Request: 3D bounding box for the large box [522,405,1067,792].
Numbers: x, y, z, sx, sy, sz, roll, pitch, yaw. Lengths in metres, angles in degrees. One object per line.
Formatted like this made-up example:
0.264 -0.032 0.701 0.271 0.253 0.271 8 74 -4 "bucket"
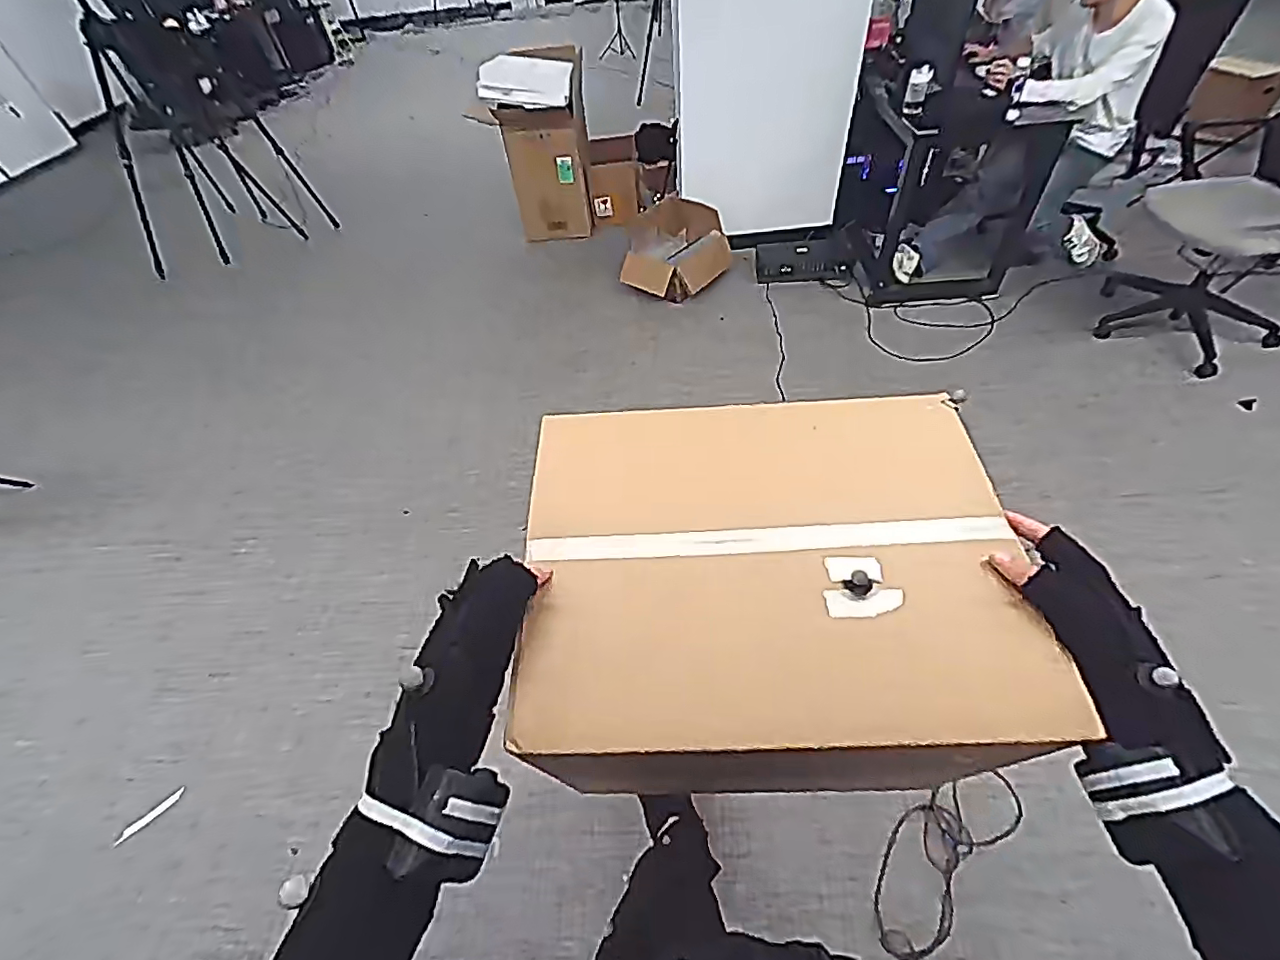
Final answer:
0.113 0.144 0.596 0.408 0.320 0.320 -3 55 3 "large box"
